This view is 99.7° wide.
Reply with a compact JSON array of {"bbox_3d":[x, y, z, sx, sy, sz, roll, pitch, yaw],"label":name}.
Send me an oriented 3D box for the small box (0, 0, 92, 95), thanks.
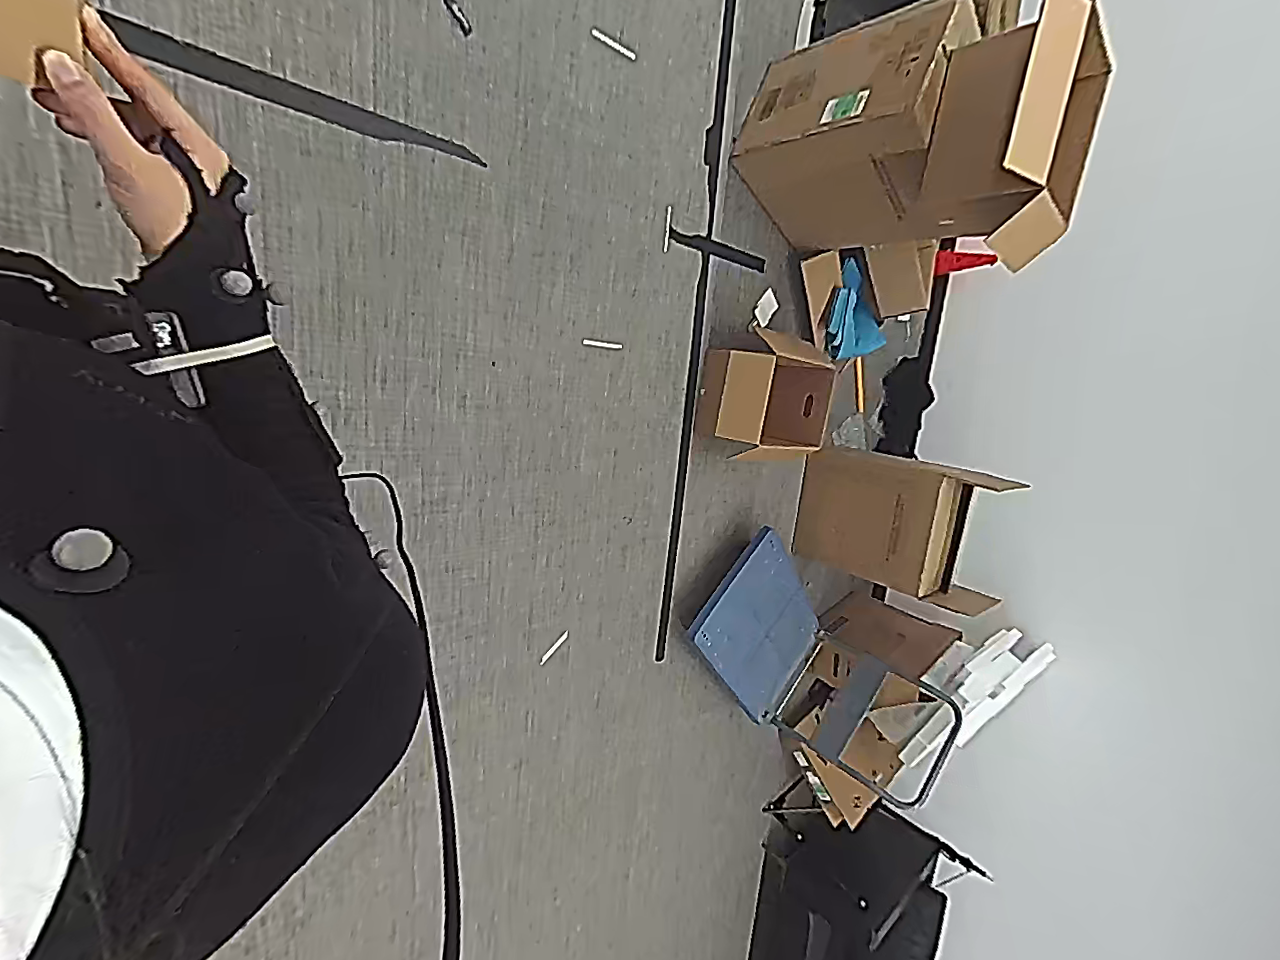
[{"bbox_3d":[-0.386,-0.313,0.249,0.179,0.176,0.168,-5,123,-43],"label":"small box"}]
